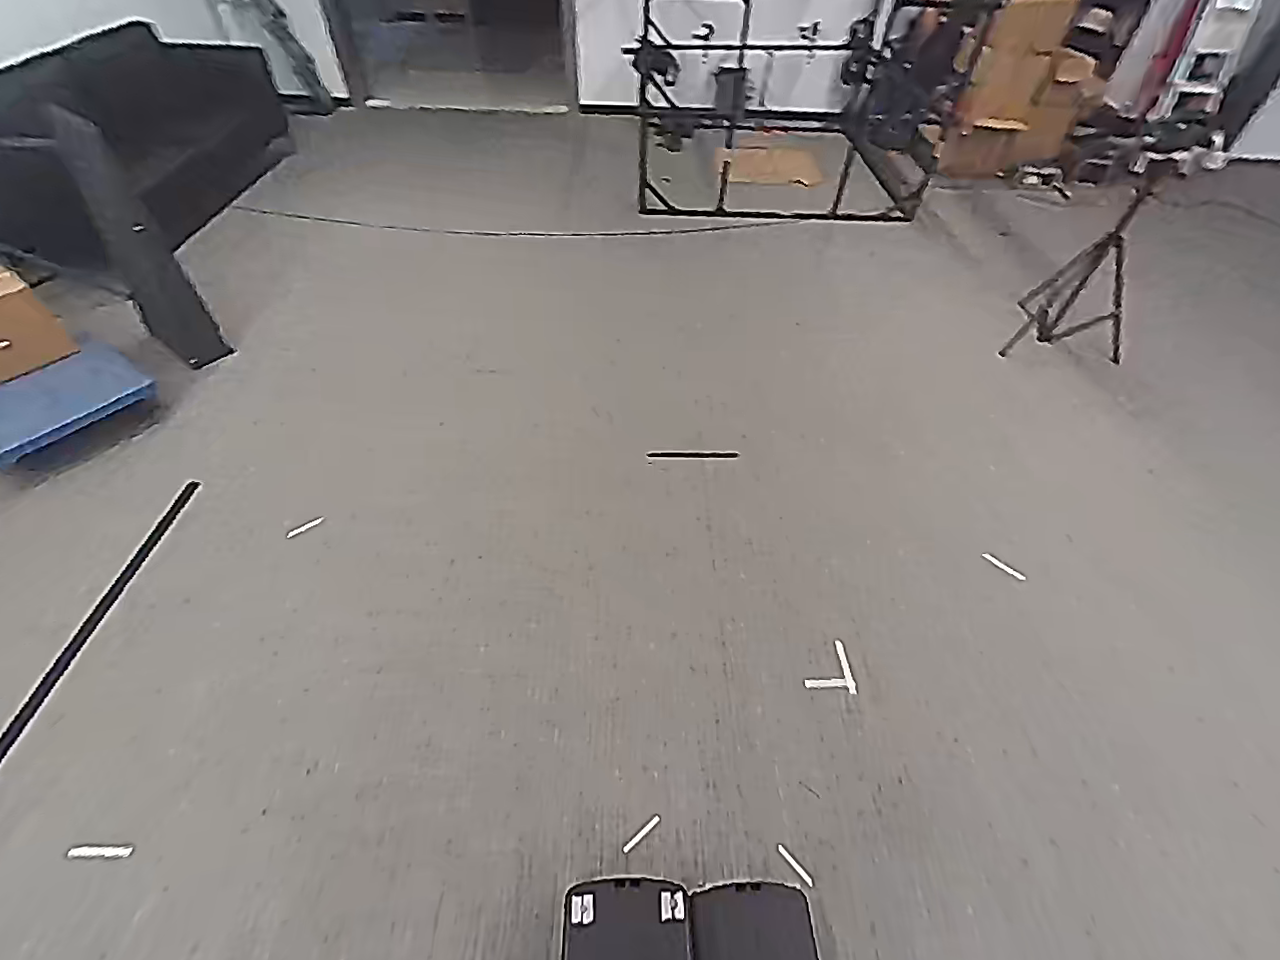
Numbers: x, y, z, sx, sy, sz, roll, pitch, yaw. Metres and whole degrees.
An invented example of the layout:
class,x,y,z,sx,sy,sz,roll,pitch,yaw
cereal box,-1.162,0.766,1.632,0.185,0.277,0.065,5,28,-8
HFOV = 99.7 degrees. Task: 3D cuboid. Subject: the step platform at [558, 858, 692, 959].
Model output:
class,x,y,z,sx,sy,sz,roll,pitch,yaw
step platform,-0.031,1.167,1.073,0.286,0.204,0.684,0,47,-2
